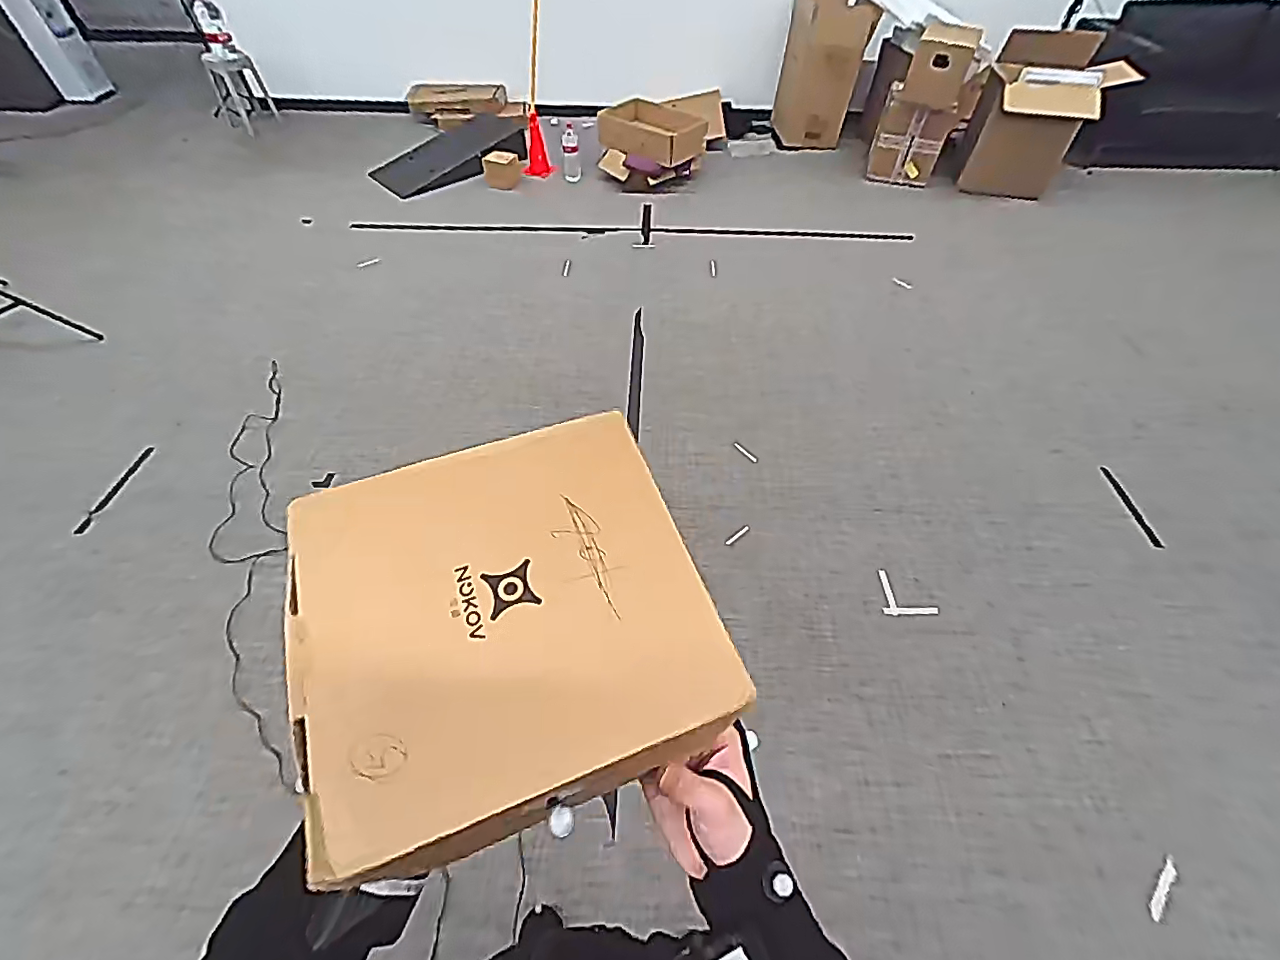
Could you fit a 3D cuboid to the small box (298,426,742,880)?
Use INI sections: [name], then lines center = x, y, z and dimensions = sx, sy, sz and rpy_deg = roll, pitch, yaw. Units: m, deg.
[small box]
center = -0.065, 0.102, 0.322
dimensions = 0.179, 0.176, 0.168
rpy_deg = -19, 61, -14
